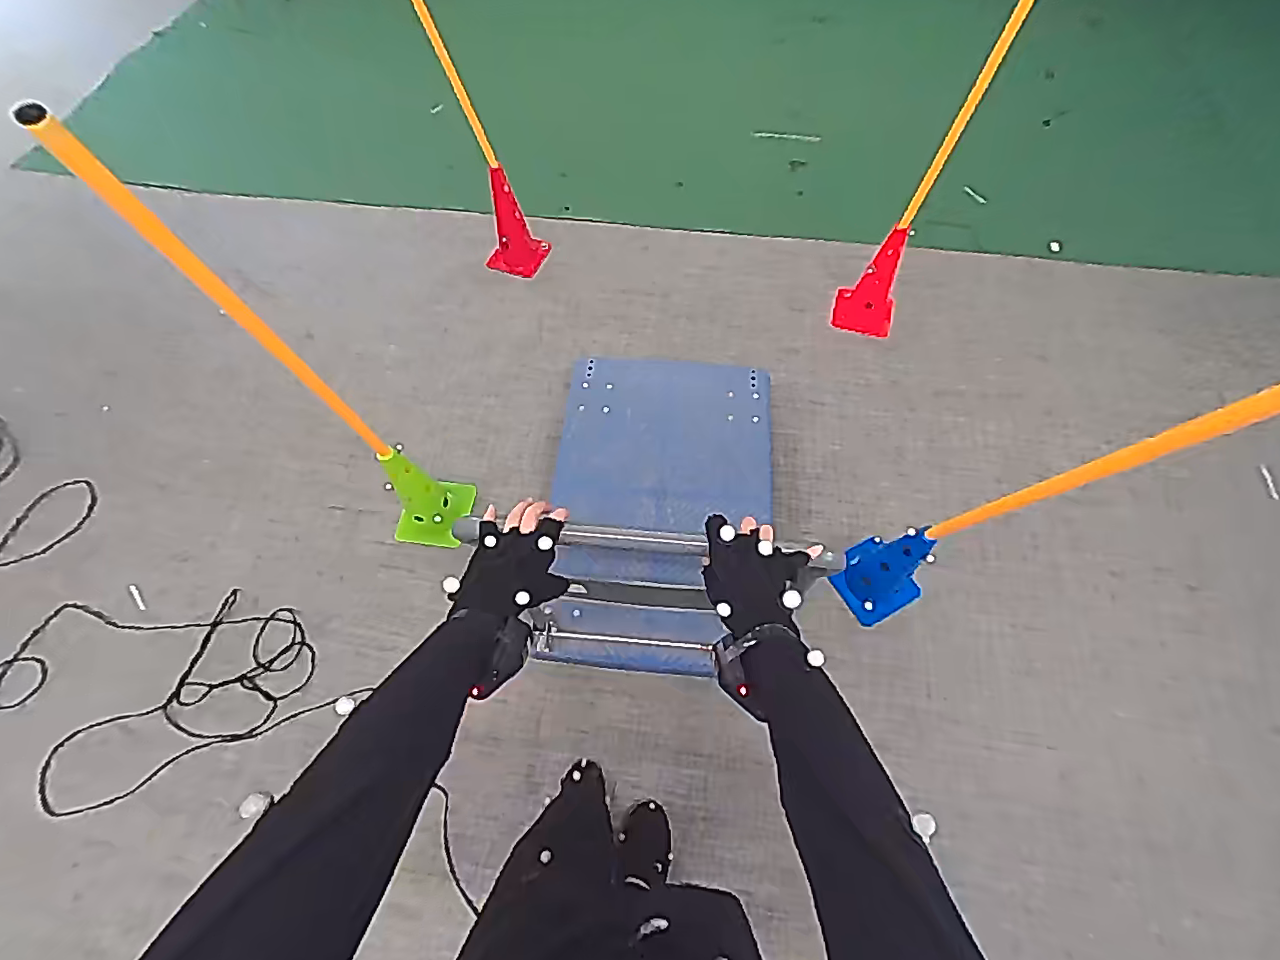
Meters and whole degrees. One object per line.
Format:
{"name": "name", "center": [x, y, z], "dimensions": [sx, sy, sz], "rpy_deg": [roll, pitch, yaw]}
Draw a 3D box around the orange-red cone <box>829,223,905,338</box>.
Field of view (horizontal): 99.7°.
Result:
{"name": "orange-red cone", "center": [0.772, -0.665, 1.749], "dimensions": [0.198, 0.360, 0.199], "rpy_deg": [17, 65, 11]}
